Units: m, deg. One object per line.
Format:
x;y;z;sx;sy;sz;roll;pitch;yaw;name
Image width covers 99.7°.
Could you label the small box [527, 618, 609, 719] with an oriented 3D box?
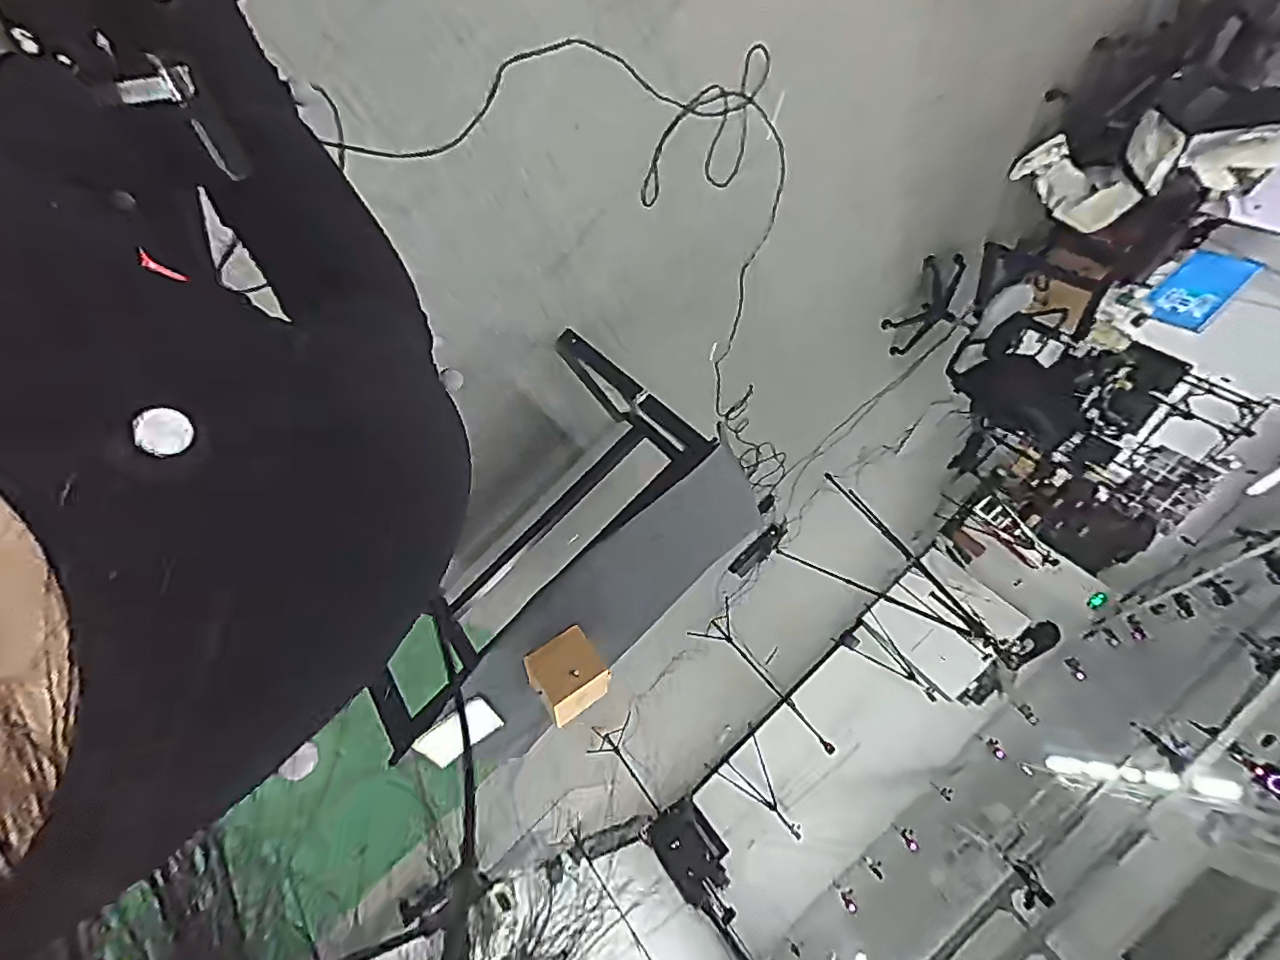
-0.207;0.531;1.537;0.179;0.176;0.168;-29;145;-26;small box
